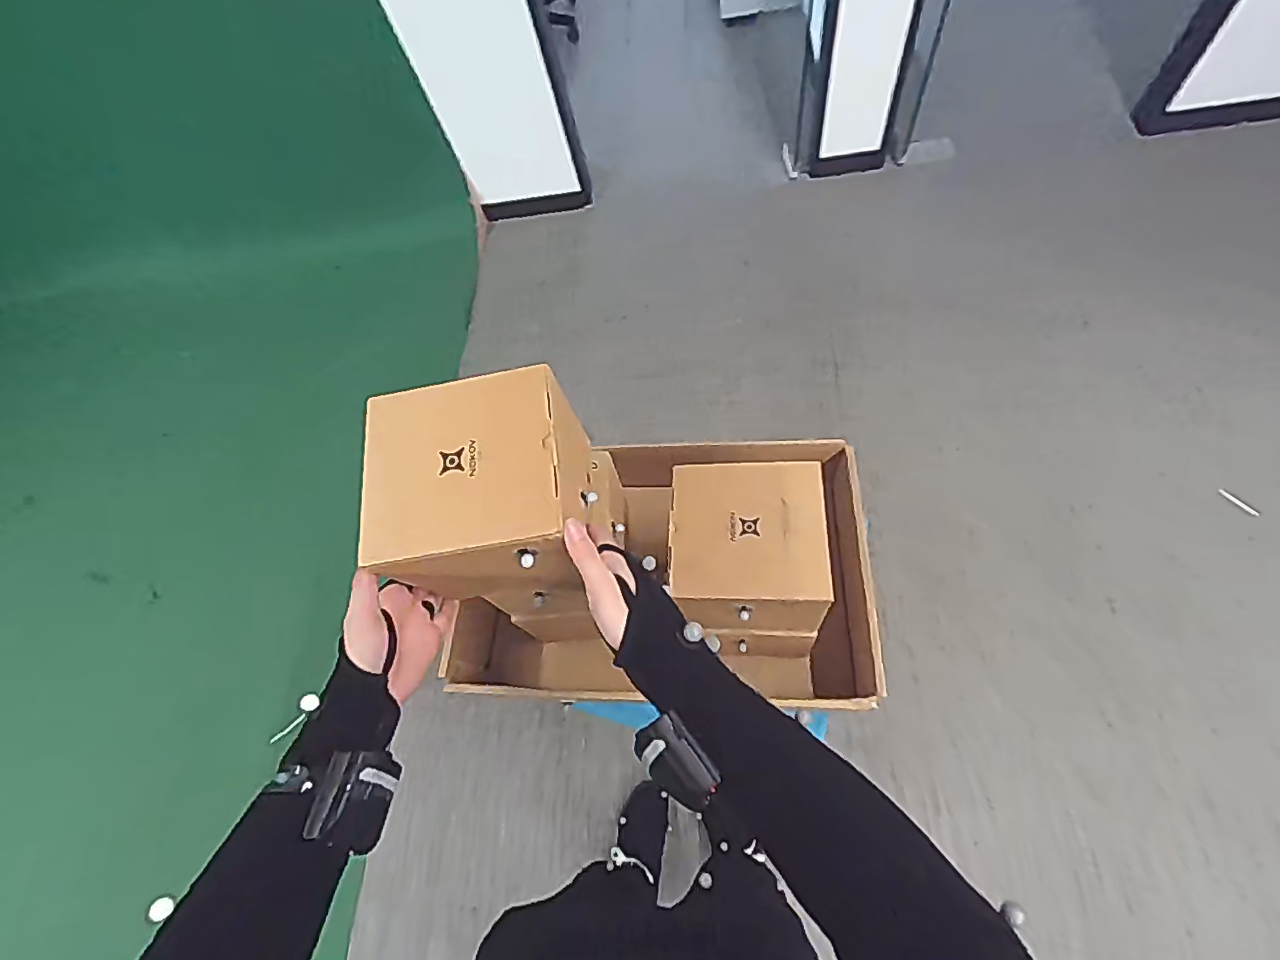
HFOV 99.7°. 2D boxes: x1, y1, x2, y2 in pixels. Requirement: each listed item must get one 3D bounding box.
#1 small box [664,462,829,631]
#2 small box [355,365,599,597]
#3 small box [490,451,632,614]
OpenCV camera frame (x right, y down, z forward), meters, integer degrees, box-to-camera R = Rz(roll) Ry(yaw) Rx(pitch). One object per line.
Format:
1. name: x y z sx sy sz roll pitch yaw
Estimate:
1. small box: 0.132 0.089 0.678 0.179 0.176 0.168 -1 63 11
2. small box: -0.150 0.014 0.542 0.179 0.176 0.168 -11 68 3
3. small box: -0.112 0.078 0.729 0.179 0.176 0.168 -5 63 7
